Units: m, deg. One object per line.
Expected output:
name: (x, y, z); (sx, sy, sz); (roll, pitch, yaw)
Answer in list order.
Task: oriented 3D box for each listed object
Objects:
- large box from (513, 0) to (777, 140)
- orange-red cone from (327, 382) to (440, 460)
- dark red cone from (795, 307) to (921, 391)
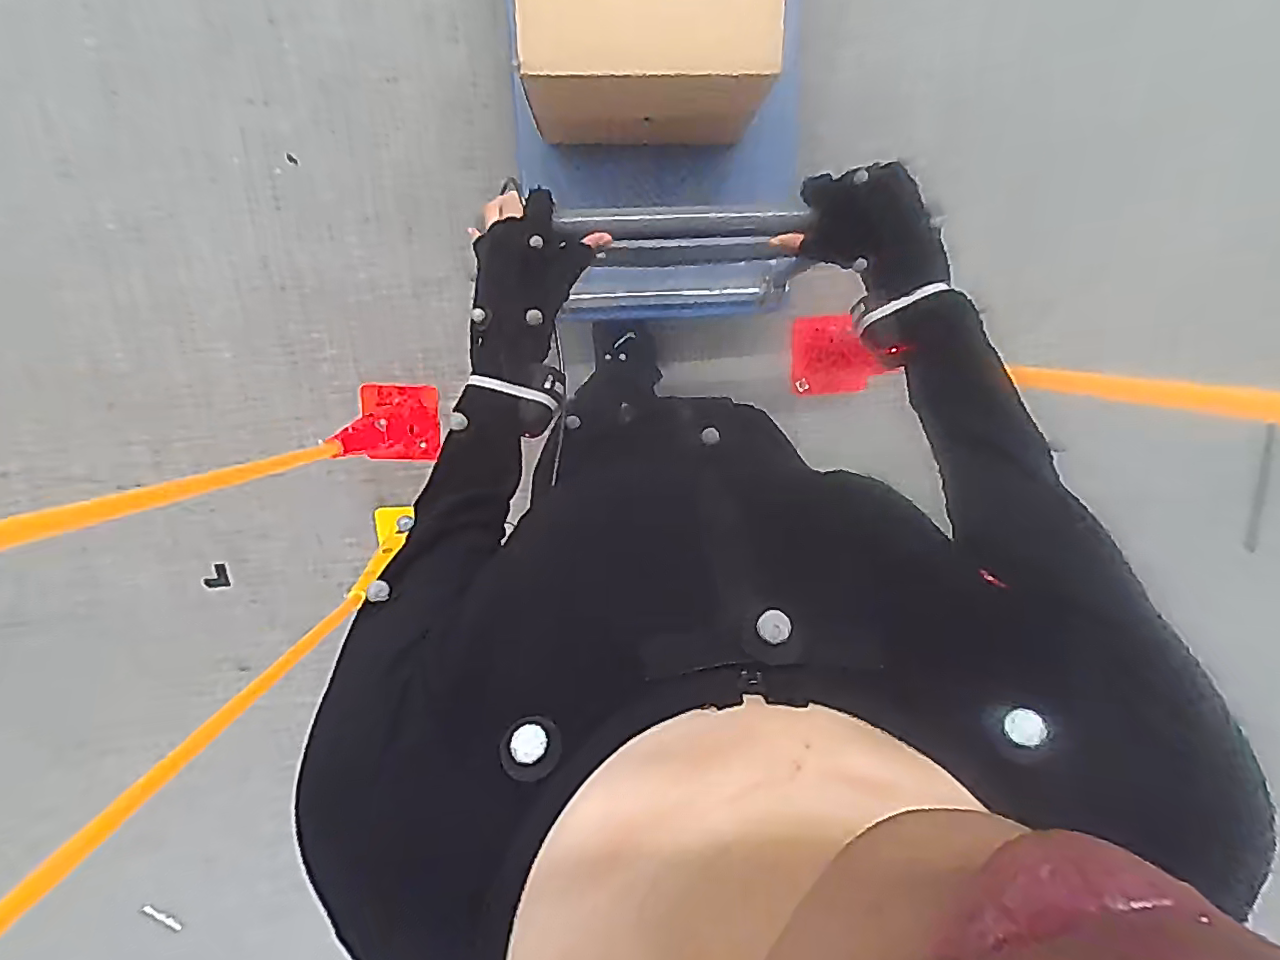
large box: (0.004, -0.814, 0.937); (0.408, 0.320, 0.320); (-2, 105, -1)
orange-red cone: (-0.614, -0.113, 1.242); (0.198, 0.360, 0.199); (2, 103, -4)
dark red cone: (0.506, -0.291, 1.221); (0.201, 0.394, 0.202); (-5, 105, -3)
